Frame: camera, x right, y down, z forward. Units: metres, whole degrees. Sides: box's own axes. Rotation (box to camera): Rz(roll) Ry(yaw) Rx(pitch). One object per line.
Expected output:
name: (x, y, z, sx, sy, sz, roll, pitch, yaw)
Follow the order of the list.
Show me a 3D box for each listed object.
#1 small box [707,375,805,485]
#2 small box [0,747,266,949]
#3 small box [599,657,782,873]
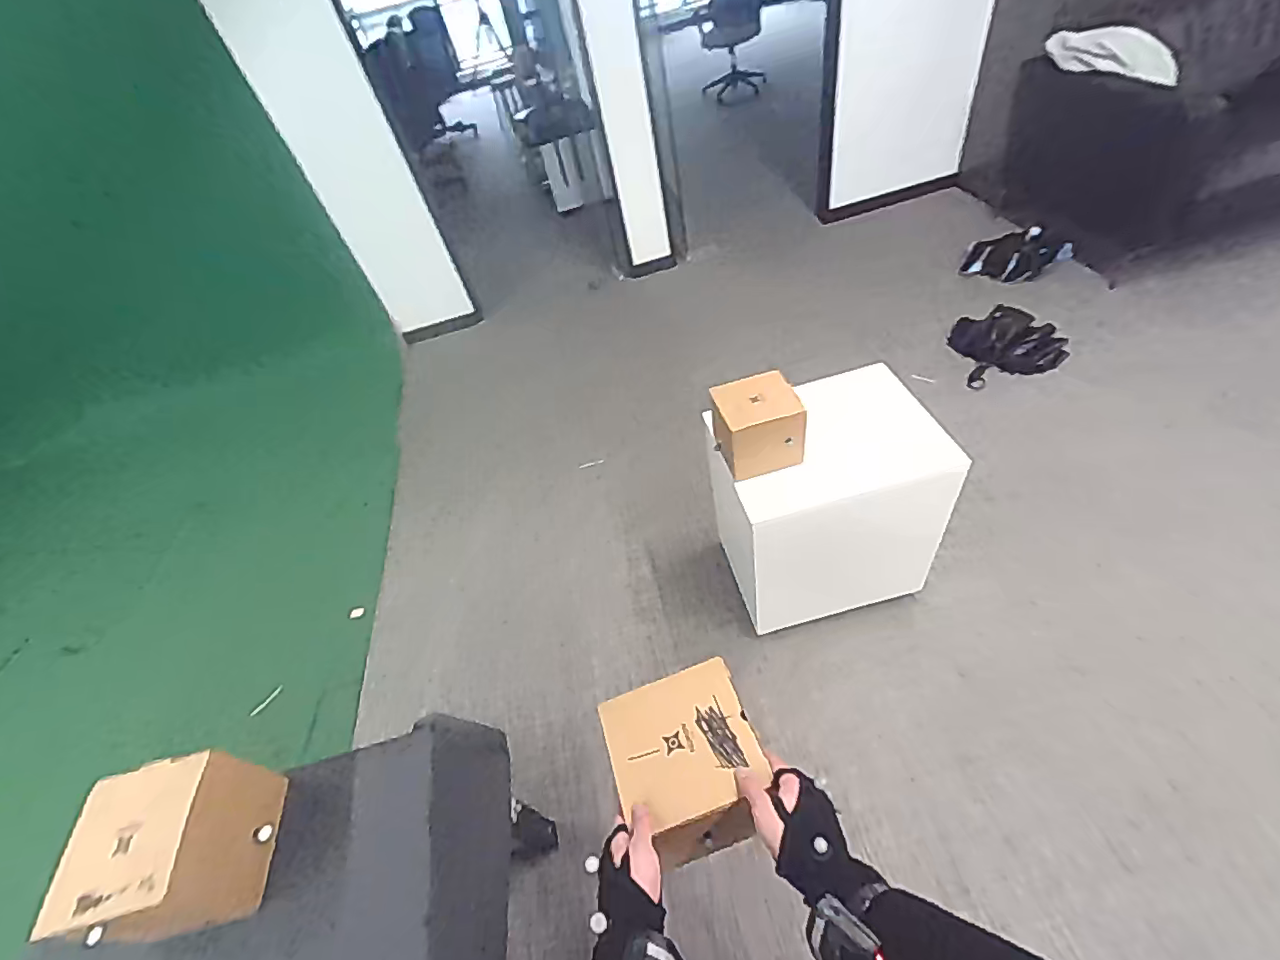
small box: (0.267, -0.114, 1.268, 0.179, 0.176, 0.168, -16, 45, -3)
small box: (-0.645, 0.490, 0.720, 0.168, 0.176, 0.179, -14, 46, -1)
small box: (0.064, 0.361, 0.685, 0.179, 0.176, 0.168, -19, 42, -4)
